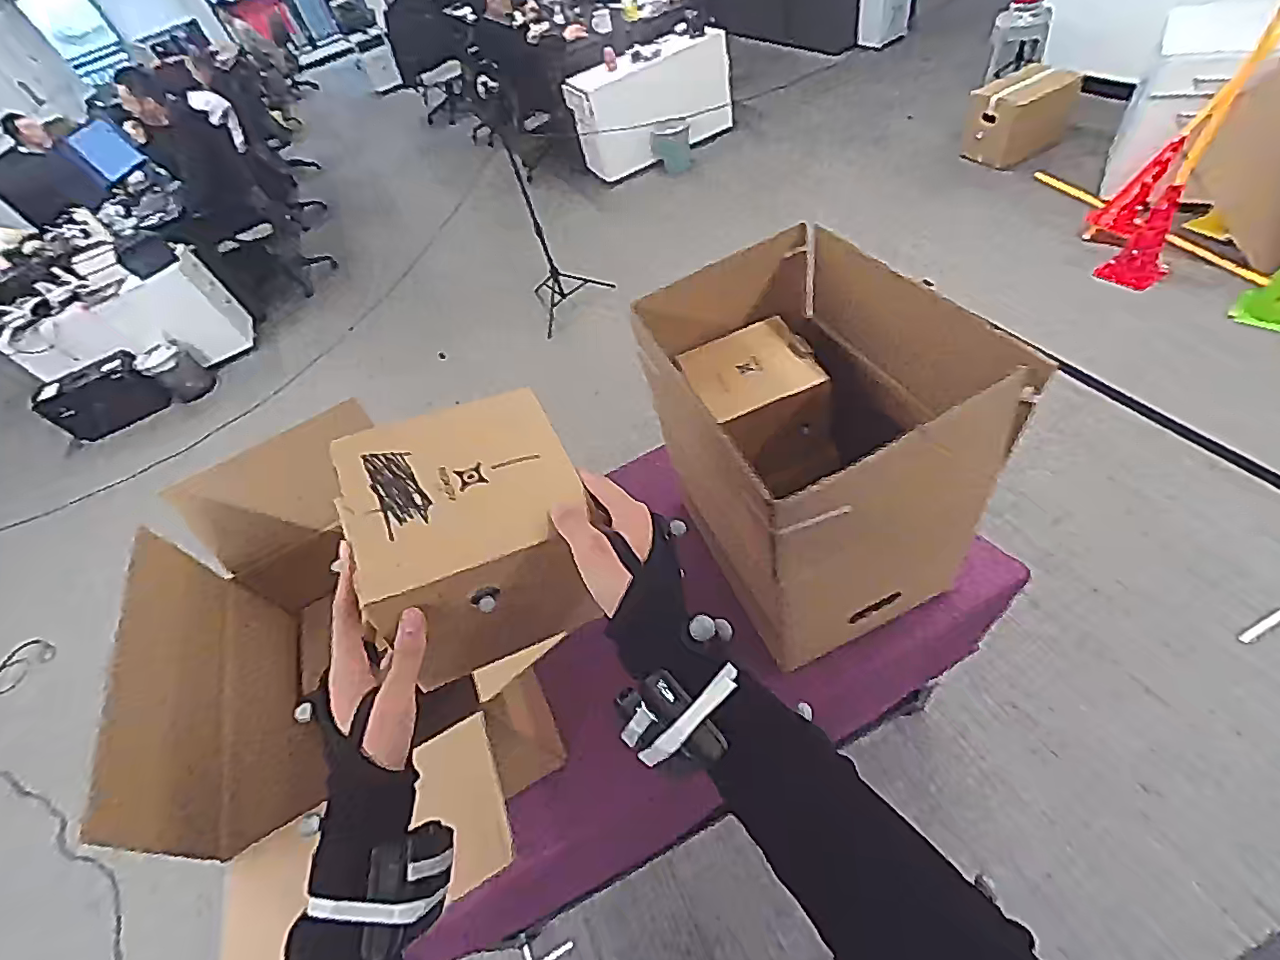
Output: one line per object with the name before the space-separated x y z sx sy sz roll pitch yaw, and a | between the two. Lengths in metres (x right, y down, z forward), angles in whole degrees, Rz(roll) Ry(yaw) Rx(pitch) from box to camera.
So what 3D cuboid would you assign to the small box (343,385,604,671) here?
small box | -0.141 0.046 0.495 0.179 0.176 0.168 -19 55 -19
